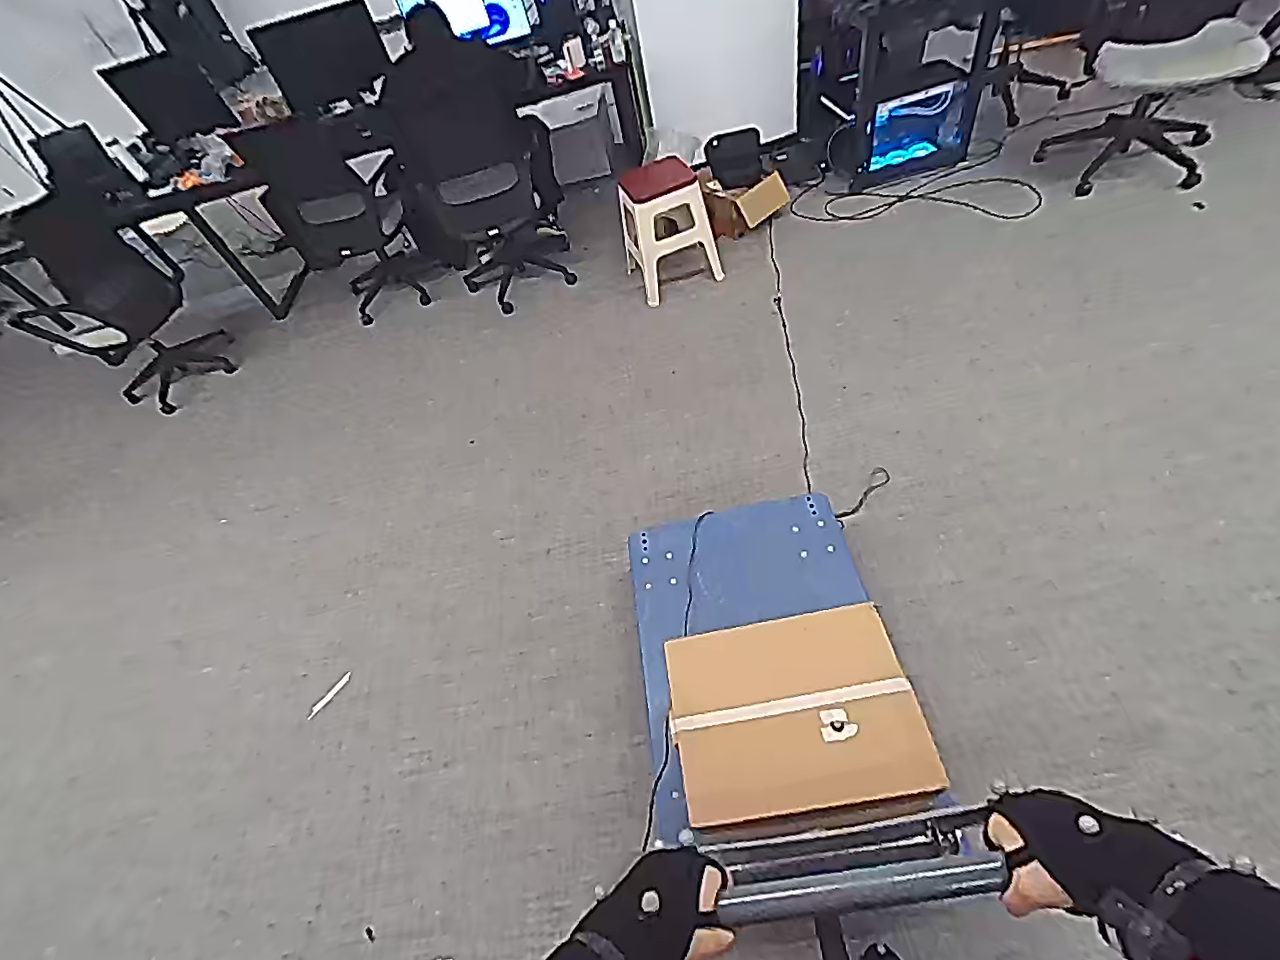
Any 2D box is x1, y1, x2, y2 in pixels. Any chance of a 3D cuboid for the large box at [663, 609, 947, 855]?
[{"bbox_3d":[0.281,0.490,1.032,0.408,0.320,0.320,-12,51,5],"label":"large box"}]
